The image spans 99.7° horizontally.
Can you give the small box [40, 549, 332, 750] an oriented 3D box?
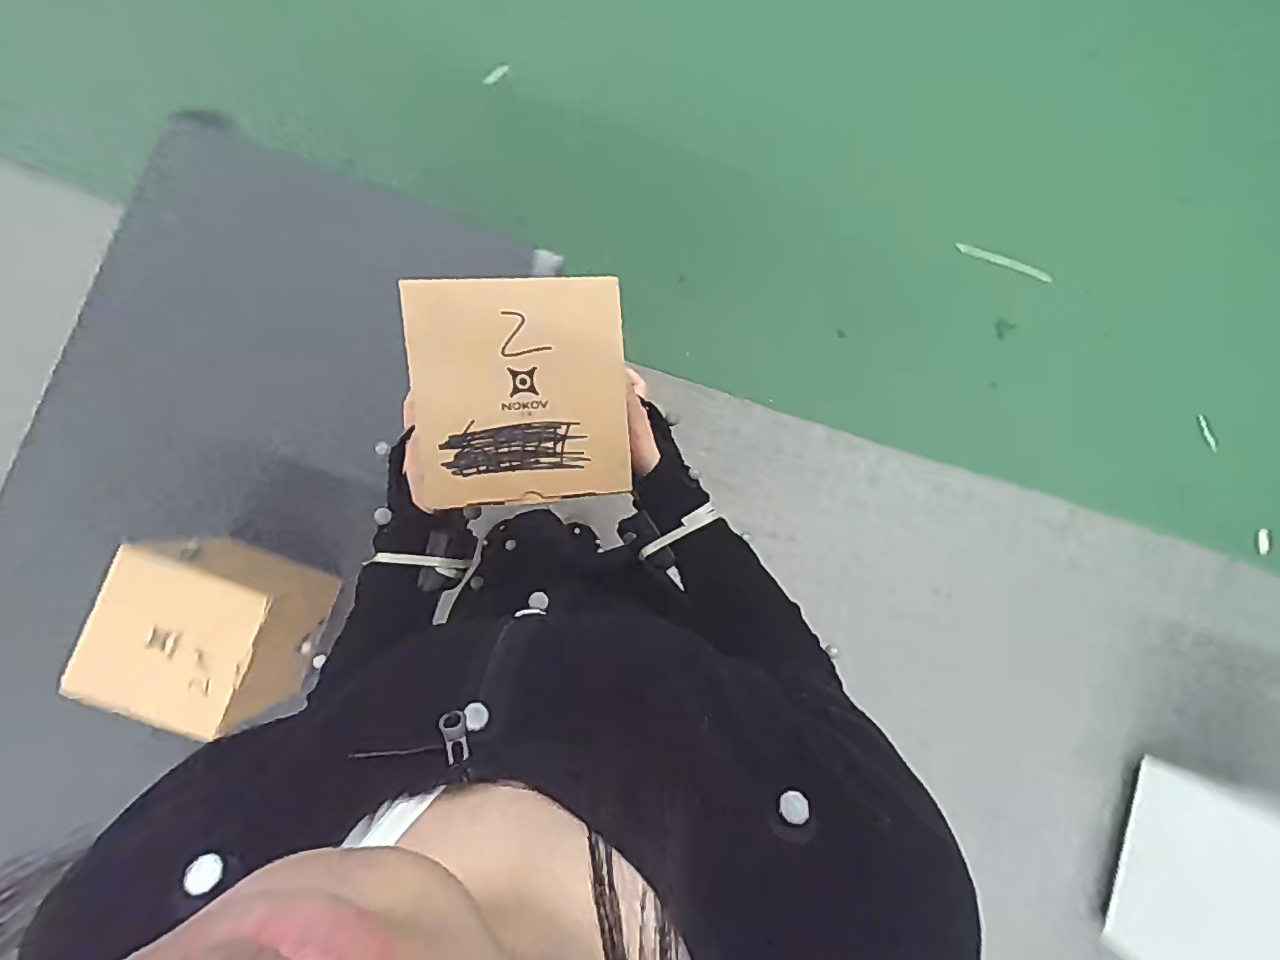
[{"bbox_3d":[-0.519,0.186,0.649,0.179,0.176,0.168,20,85,-2],"label":"small box"}]
